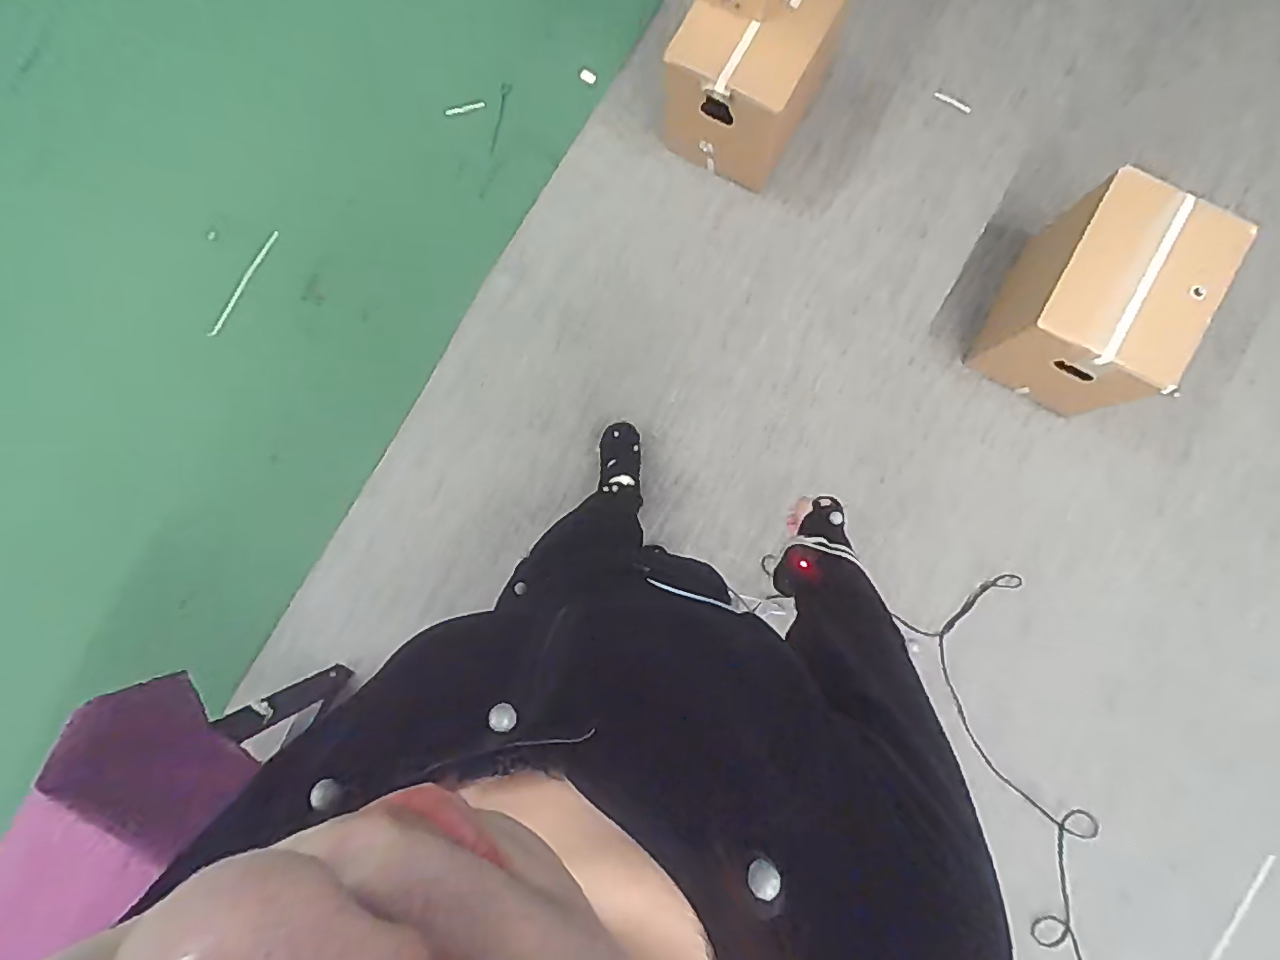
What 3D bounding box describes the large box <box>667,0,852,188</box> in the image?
[{"bbox_3d":[0.299,-1.069,1.396,0.320,0.320,0.408,30,88,6],"label":"large box"}]
